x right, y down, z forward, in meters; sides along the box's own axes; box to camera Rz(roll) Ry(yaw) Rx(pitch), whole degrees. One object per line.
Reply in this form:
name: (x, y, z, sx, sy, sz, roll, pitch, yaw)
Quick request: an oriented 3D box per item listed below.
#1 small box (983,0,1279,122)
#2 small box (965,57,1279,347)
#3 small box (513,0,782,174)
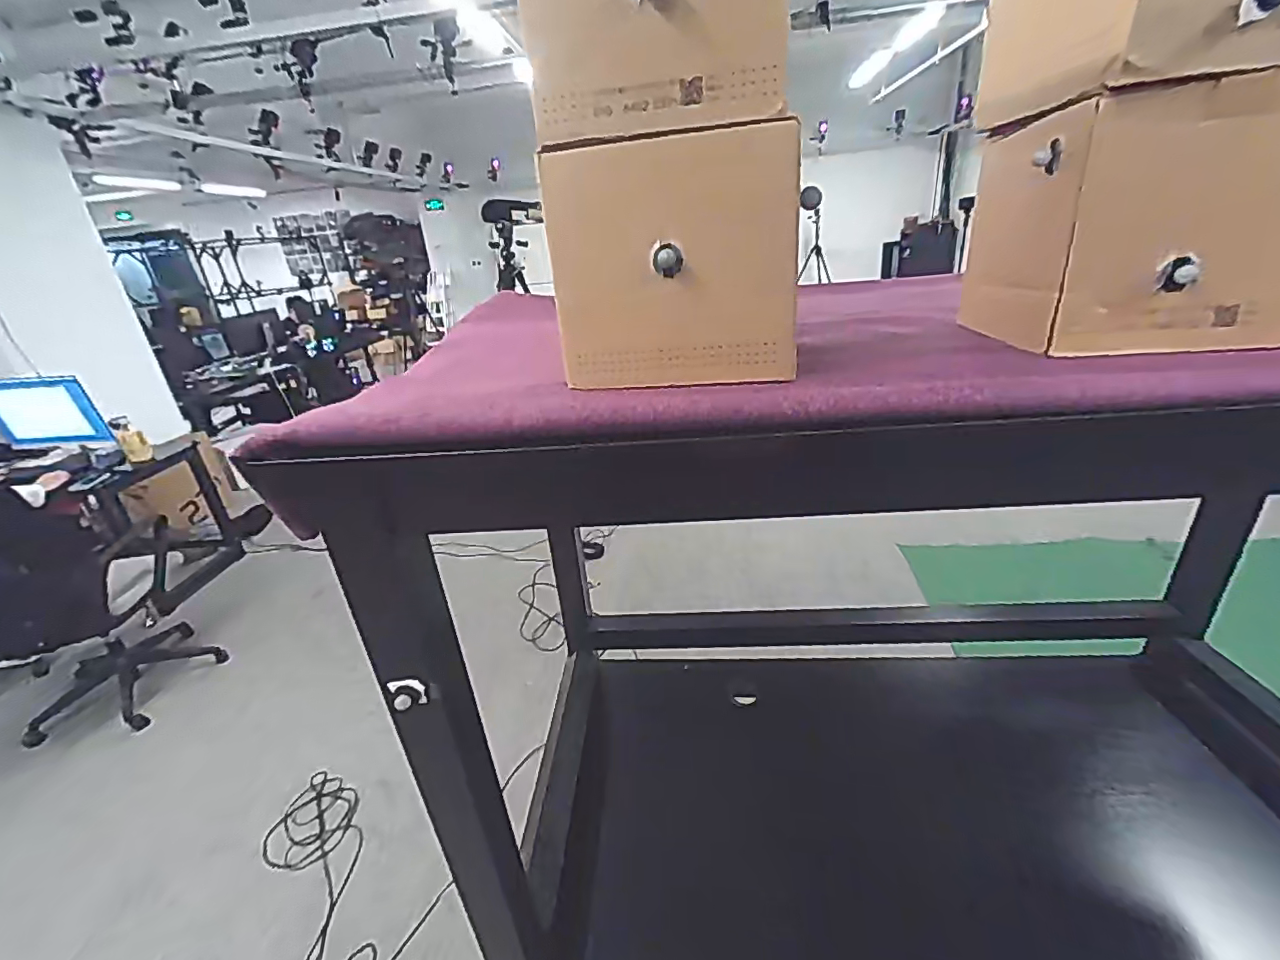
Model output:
small box: (0.354, -0.347, 0.349, 0.168, 0.176, 0.179, -5, 25, 6)
small box: (0.377, -0.201, 0.417, 0.168, 0.176, 0.179, -1, 24, 10)
small box: (0.010, -0.334, 0.392, 0.168, 0.176, 0.179, -3, 24, 7)
